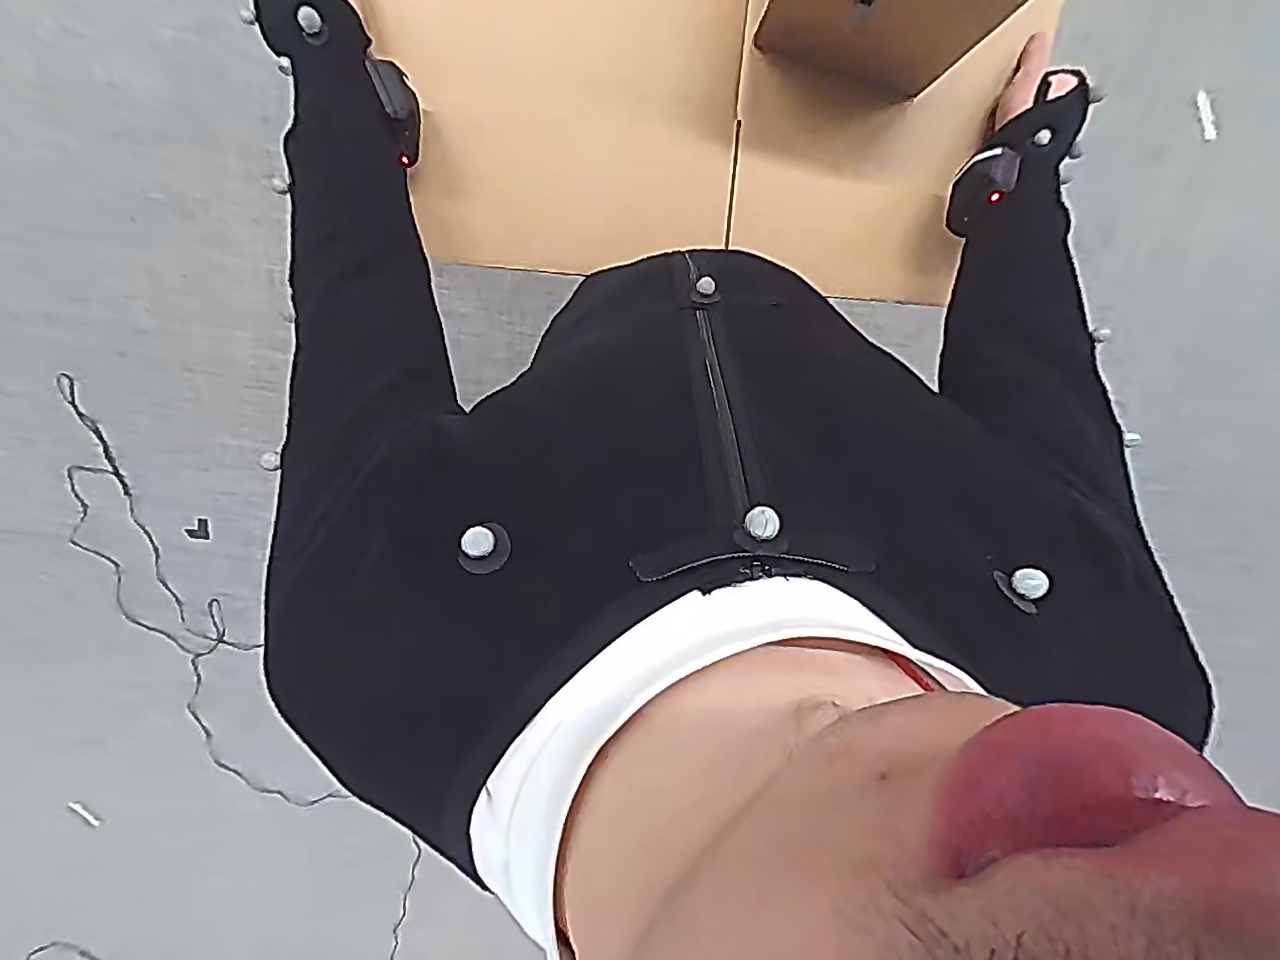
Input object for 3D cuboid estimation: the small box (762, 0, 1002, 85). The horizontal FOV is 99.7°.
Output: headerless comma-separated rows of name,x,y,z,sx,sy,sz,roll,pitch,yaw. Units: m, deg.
small box,0.214,-0.462,0.435,0.179,0.176,0.168,14,104,-4
